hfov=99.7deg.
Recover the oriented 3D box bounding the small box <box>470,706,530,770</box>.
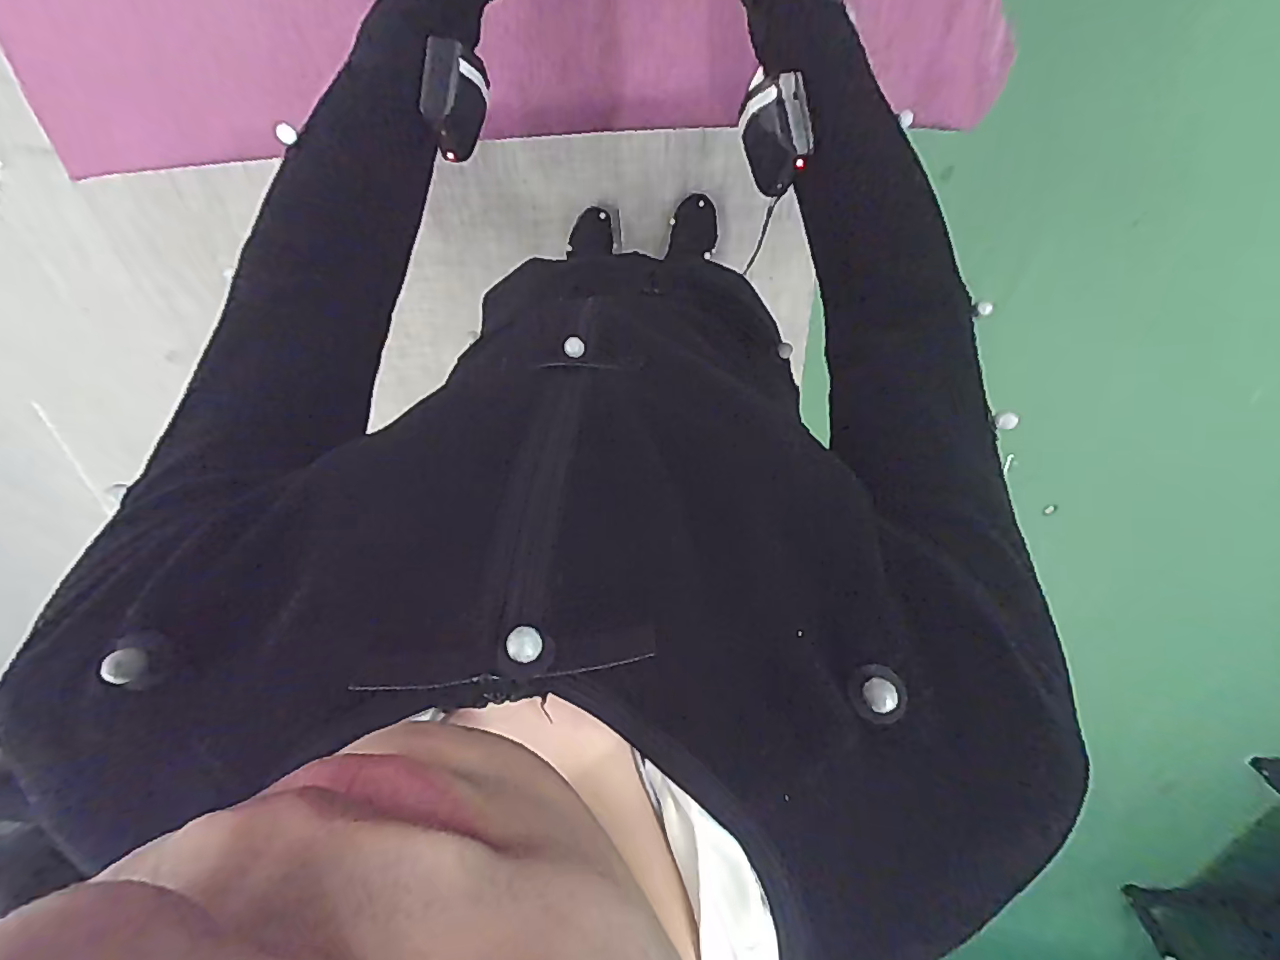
[{"bbox_3d":[-0.545,1.007,2.122,0.179,0.176,0.168,-1,119,3],"label":"small box"}]

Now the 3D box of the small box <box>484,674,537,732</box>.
[{"bbox_3d":[-0.535,0.933,2.265,0.179,0.176,0.168,1,120,3],"label":"small box"}]
